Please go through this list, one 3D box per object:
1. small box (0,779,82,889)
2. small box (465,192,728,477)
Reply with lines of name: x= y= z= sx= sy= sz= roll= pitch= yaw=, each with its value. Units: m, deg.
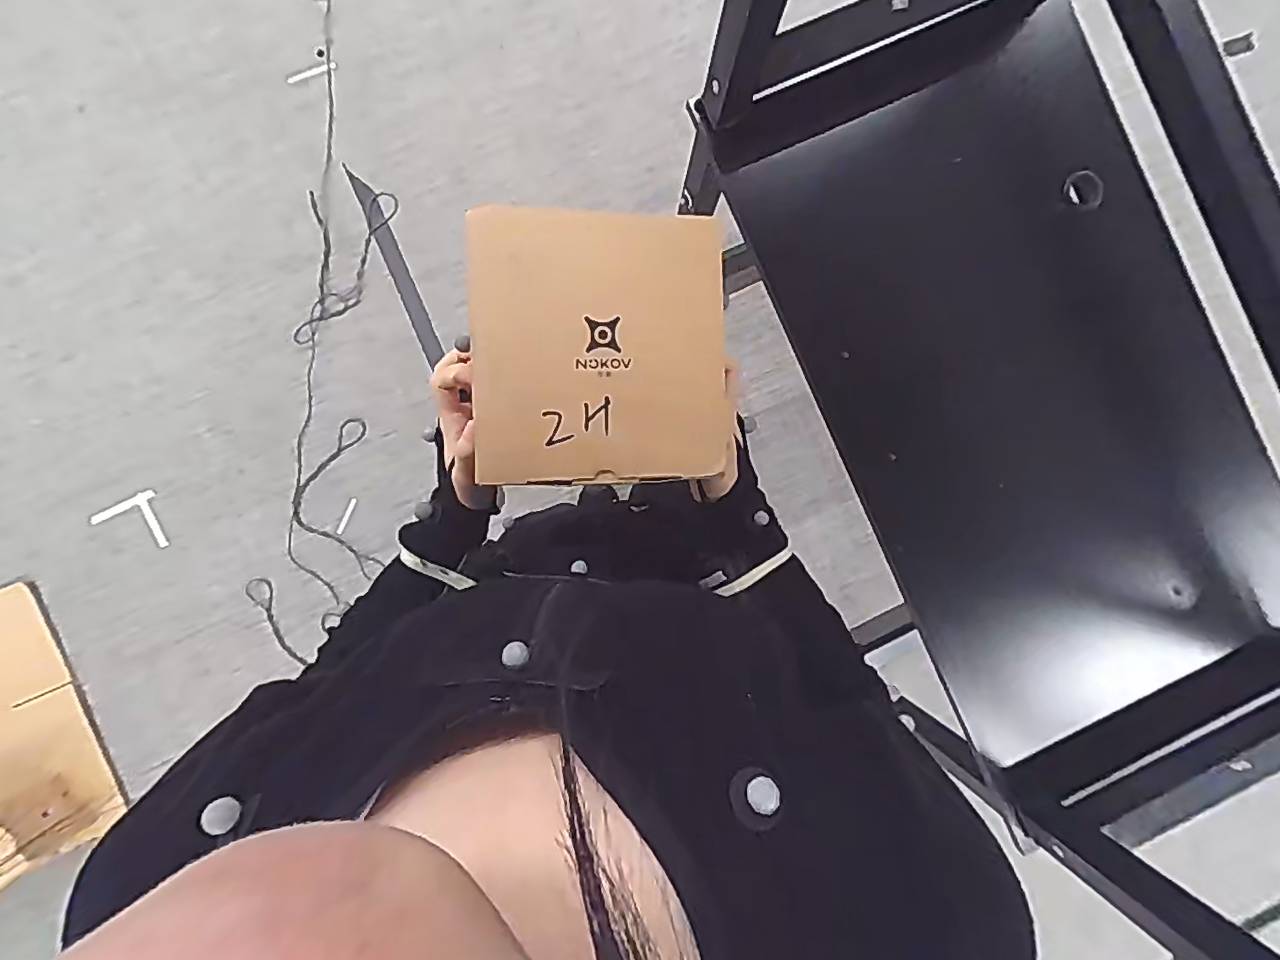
small box: x=-1.524 y=0.872 z=1.306 sx=0.179 sy=0.176 sz=0.168 roll=-37 pitch=91 yaw=-4
small box: x=-0.038 y=-0.092 z=0.420 sx=0.168 sy=0.176 sz=0.179 roll=-2 pitch=93 yaw=-9
